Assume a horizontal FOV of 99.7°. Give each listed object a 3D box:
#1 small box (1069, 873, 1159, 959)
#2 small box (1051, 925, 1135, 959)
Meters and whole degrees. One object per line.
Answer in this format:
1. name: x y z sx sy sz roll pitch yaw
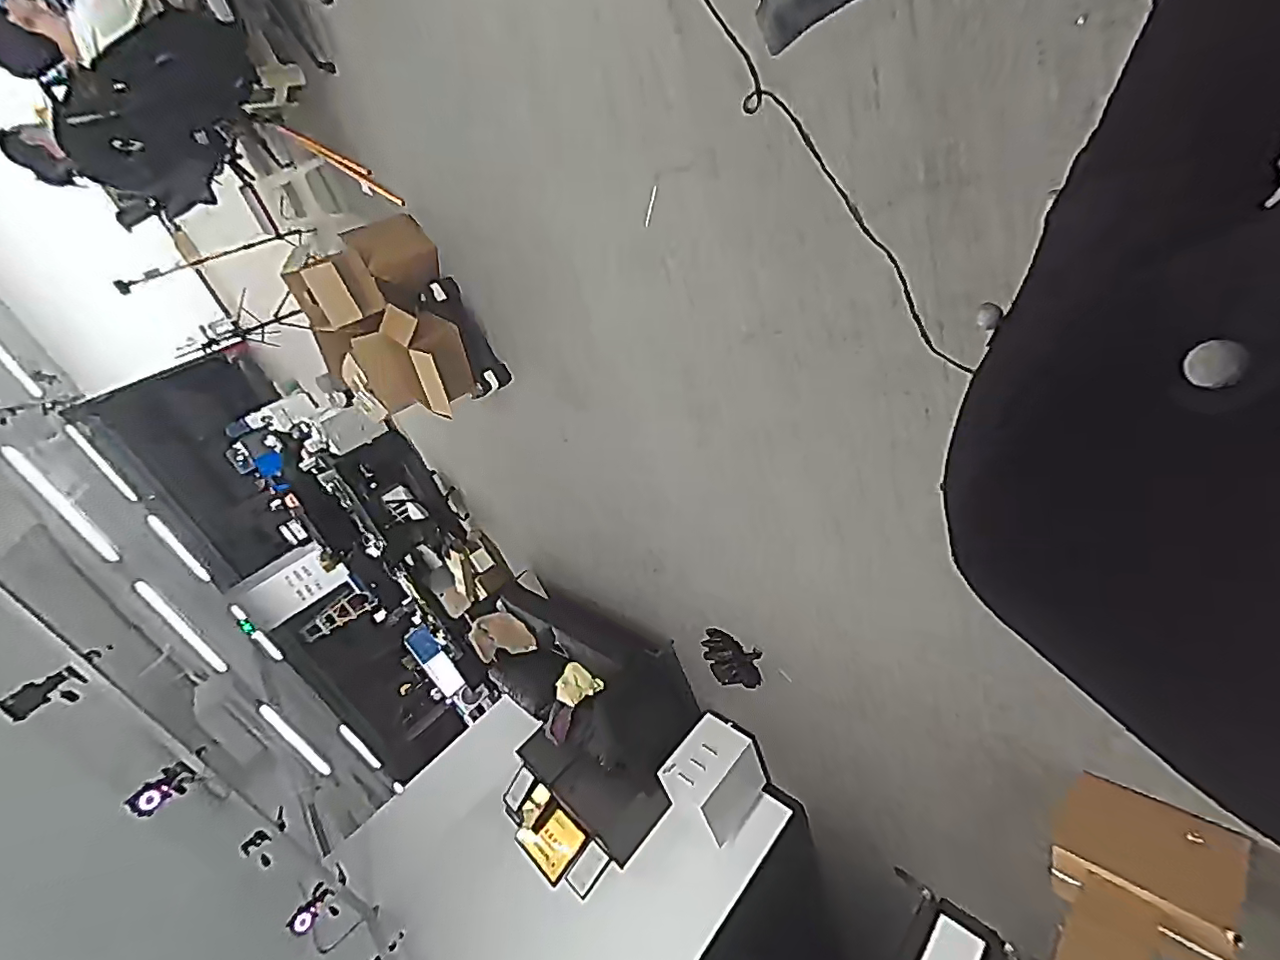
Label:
1. small box: 1.407 1.331 1.606 0.179 0.176 0.168 13 131 50
2. small box: 1.288 1.417 1.530 0.179 0.176 0.168 11 129 50
